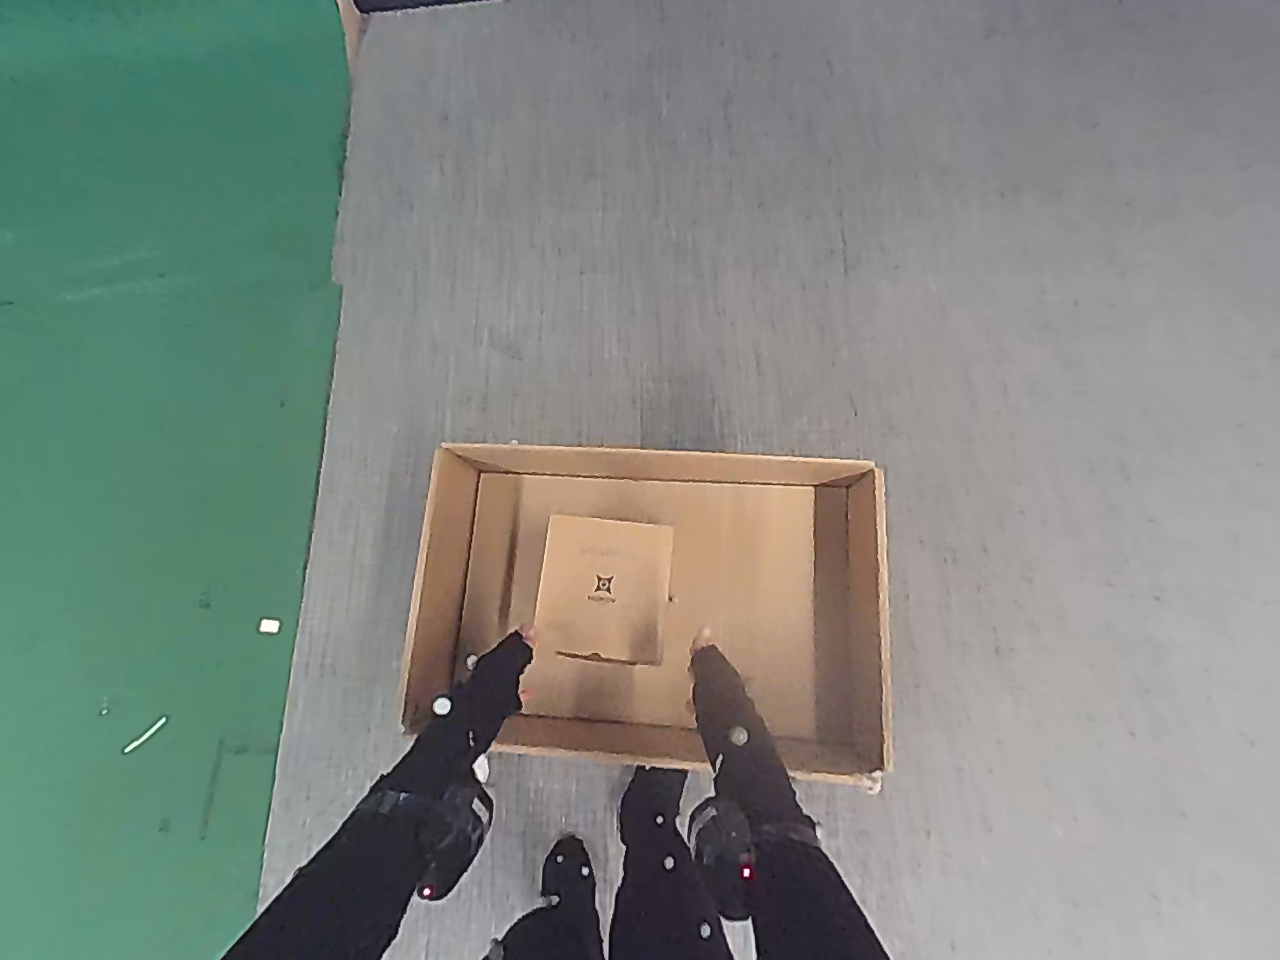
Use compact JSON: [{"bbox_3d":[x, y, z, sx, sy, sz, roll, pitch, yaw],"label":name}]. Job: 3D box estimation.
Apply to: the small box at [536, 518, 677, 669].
[{"bbox_3d":[-0.036,0.160,0.763,0.168,0.176,0.179,5,76,4],"label":"small box"}]
